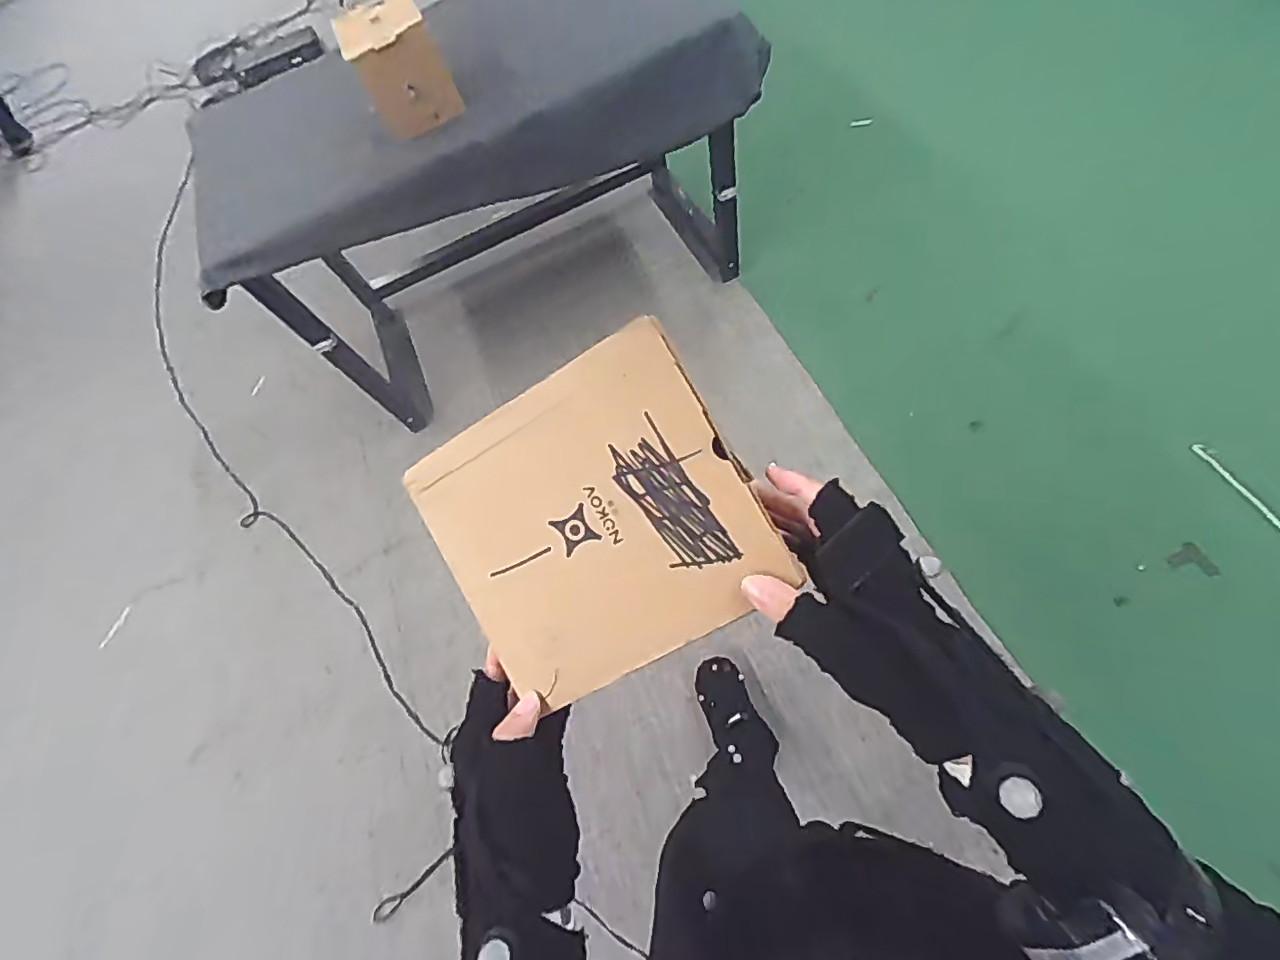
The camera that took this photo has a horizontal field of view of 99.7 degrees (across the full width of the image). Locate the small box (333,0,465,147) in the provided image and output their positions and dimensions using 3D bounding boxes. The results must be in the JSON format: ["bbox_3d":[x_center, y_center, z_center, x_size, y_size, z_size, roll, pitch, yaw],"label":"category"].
[{"bbox_3d":[-0.482,-0.819,1.100,0.168,0.176,0.179,-27,64,-1],"label":"small box"}]

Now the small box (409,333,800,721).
[{"bbox_3d":[-0.012,0.025,0.380,0.179,0.176,0.168,-30,87,11],"label":"small box"}]
